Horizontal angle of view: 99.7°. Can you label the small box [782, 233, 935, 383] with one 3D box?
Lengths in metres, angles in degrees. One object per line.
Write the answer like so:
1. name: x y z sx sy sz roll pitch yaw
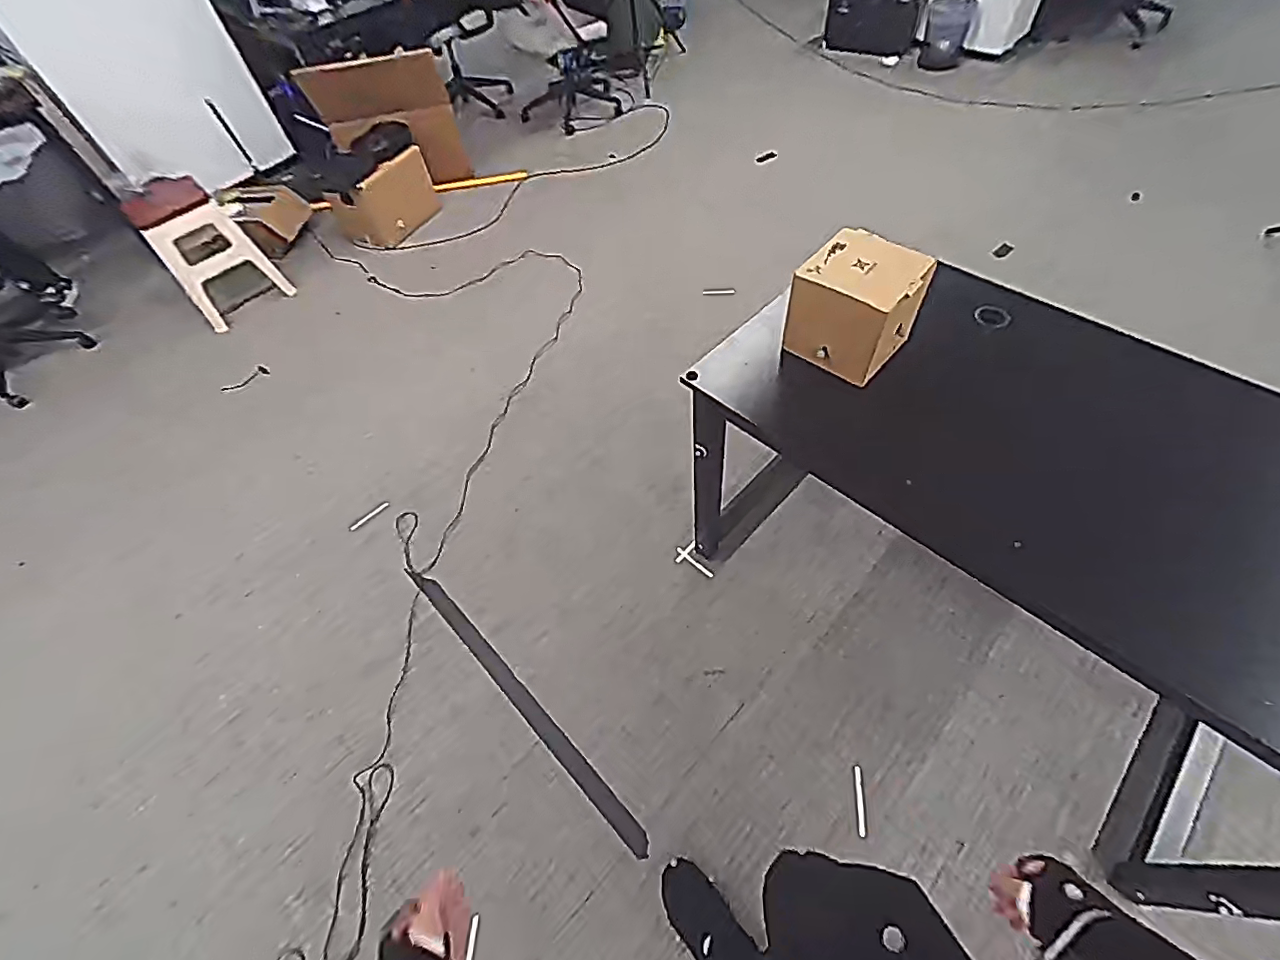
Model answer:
1. small box: 0.381 -0.302 0.972 0.179 0.176 0.168 36 66 25
